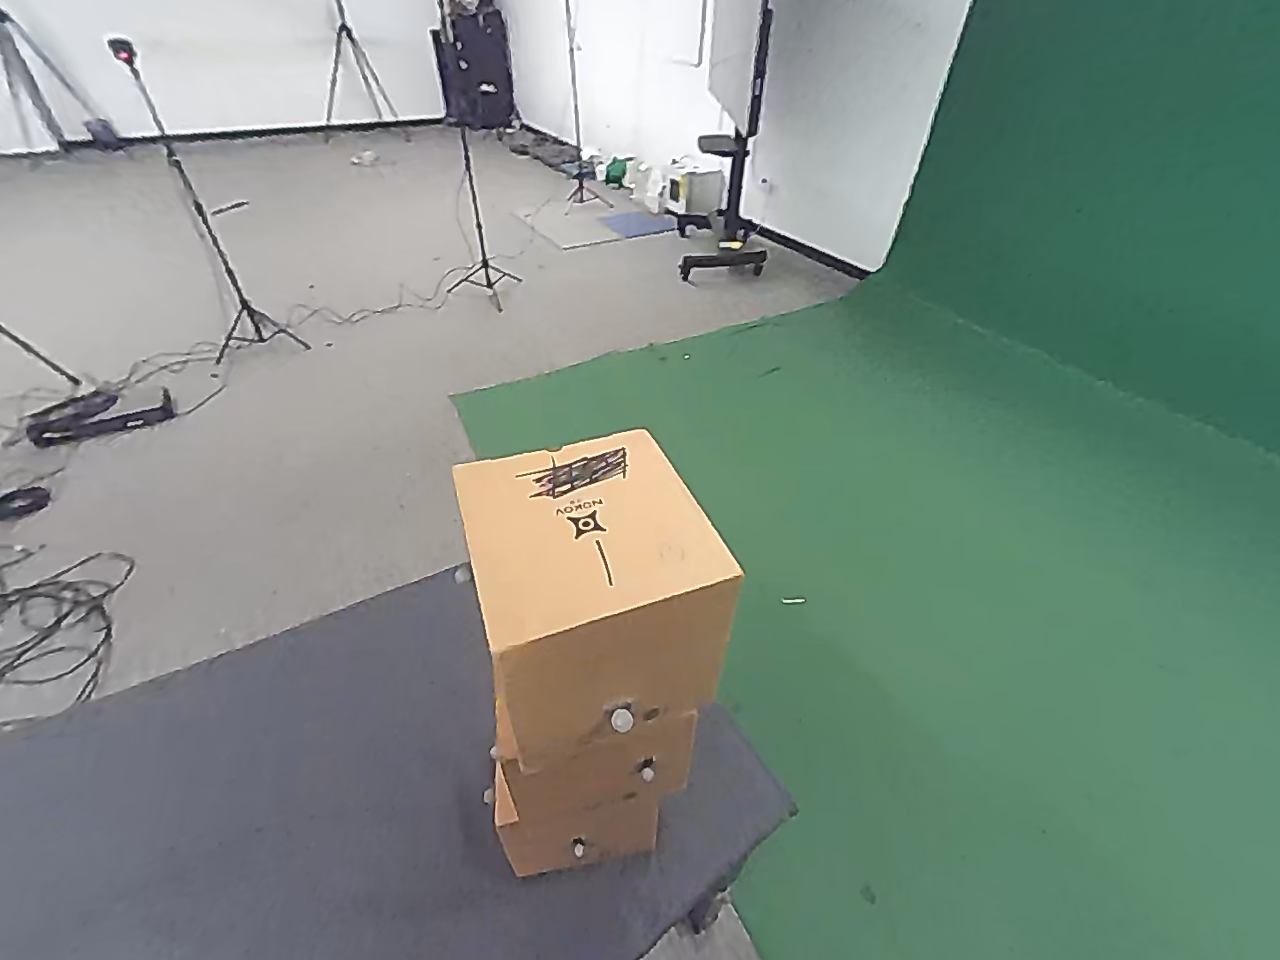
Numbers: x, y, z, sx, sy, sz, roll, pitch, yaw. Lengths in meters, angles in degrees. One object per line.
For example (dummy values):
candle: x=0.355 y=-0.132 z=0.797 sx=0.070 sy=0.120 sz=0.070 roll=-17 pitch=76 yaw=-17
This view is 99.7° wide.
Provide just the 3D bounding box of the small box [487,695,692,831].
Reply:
small box: x=-0.056 y=0.216 z=0.534 sx=0.168 sy=0.176 sz=0.179 roll=-9 pitch=40 yaw=-13

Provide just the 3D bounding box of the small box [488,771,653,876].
small box: x=-0.079 y=0.339 z=0.639 sx=0.168 sy=0.176 sz=0.179 roll=-6 pitch=40 yaw=-8

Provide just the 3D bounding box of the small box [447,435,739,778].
small box: x=-0.045 y=0.092 z=0.426 sx=0.168 sy=0.176 sz=0.179 roll=-13 pitch=43 yaw=-17
